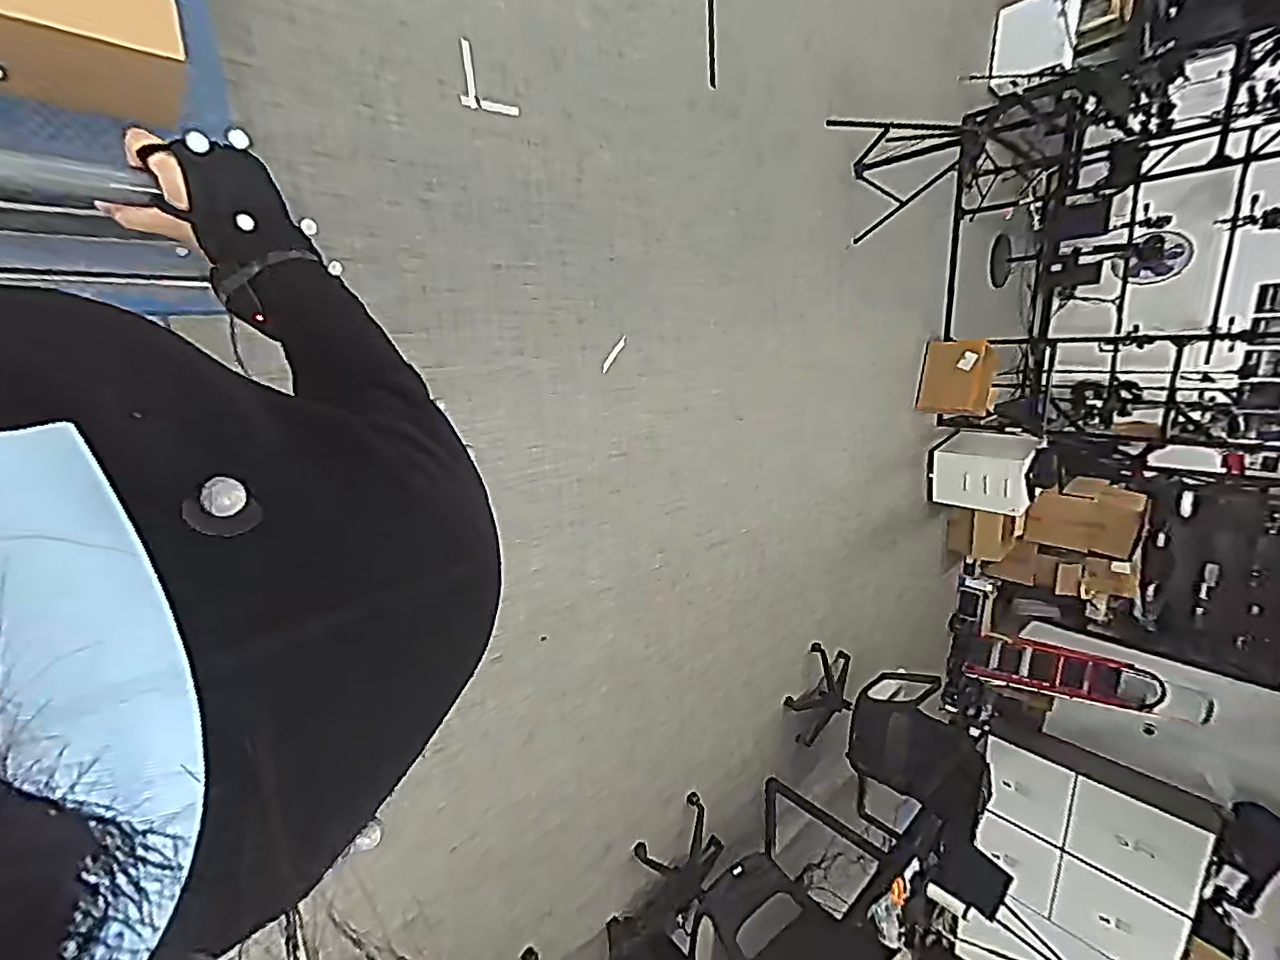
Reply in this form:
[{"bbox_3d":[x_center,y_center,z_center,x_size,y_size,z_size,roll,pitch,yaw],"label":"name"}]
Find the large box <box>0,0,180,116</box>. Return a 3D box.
[{"bbox_3d":[-0.885,-0.729,0.694,0.408,0.320,0.320,-12,106,-39],"label":"large box"}]
